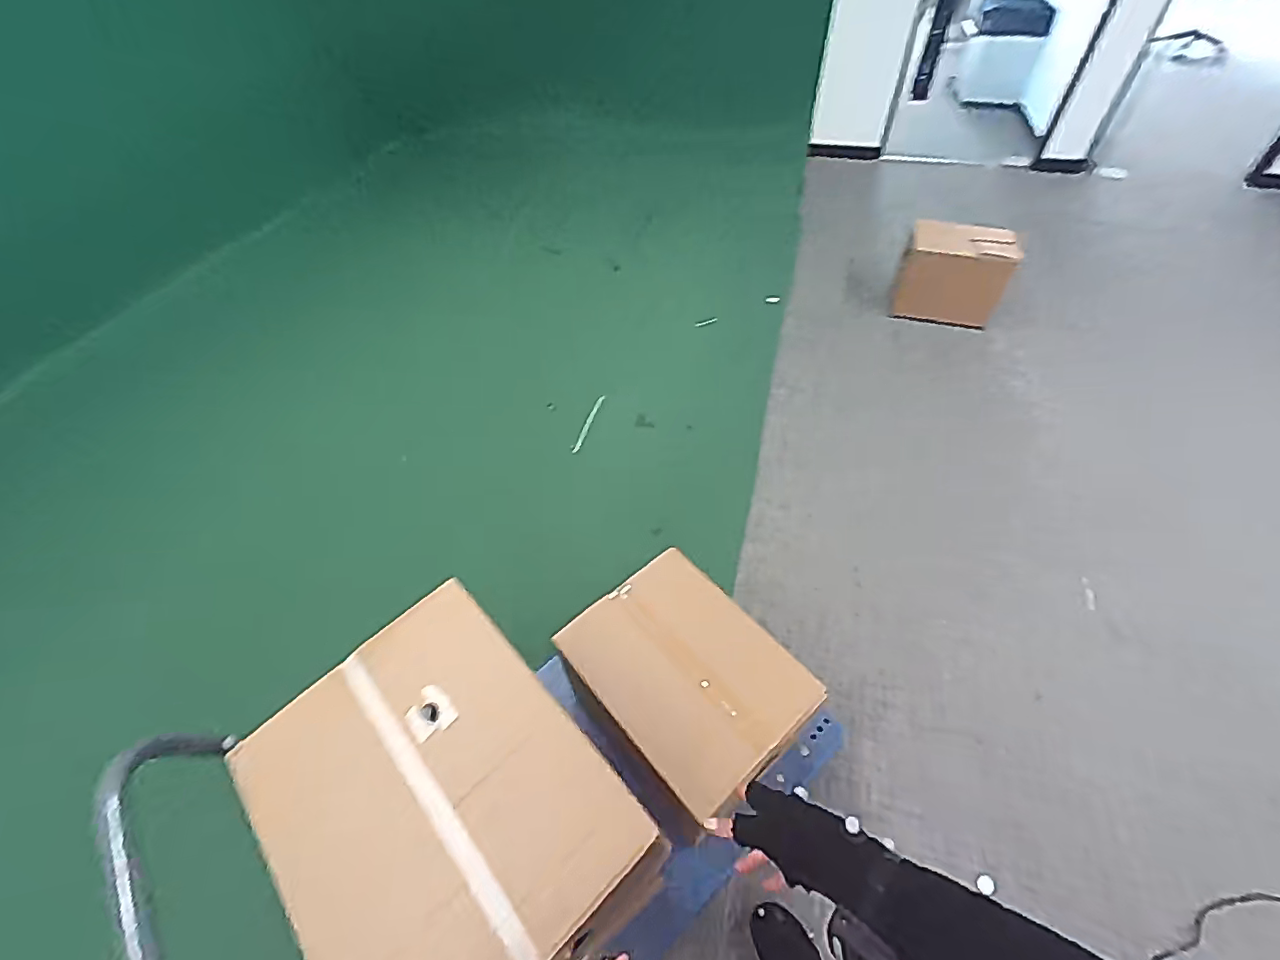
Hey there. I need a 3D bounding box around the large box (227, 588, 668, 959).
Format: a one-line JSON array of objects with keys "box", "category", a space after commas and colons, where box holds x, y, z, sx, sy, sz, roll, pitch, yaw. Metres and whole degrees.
[{"box": [-0.216, 0.426, 0.696, 0.320, 0.320, 0.408, -39, 57, -21], "category": "large box"}]
